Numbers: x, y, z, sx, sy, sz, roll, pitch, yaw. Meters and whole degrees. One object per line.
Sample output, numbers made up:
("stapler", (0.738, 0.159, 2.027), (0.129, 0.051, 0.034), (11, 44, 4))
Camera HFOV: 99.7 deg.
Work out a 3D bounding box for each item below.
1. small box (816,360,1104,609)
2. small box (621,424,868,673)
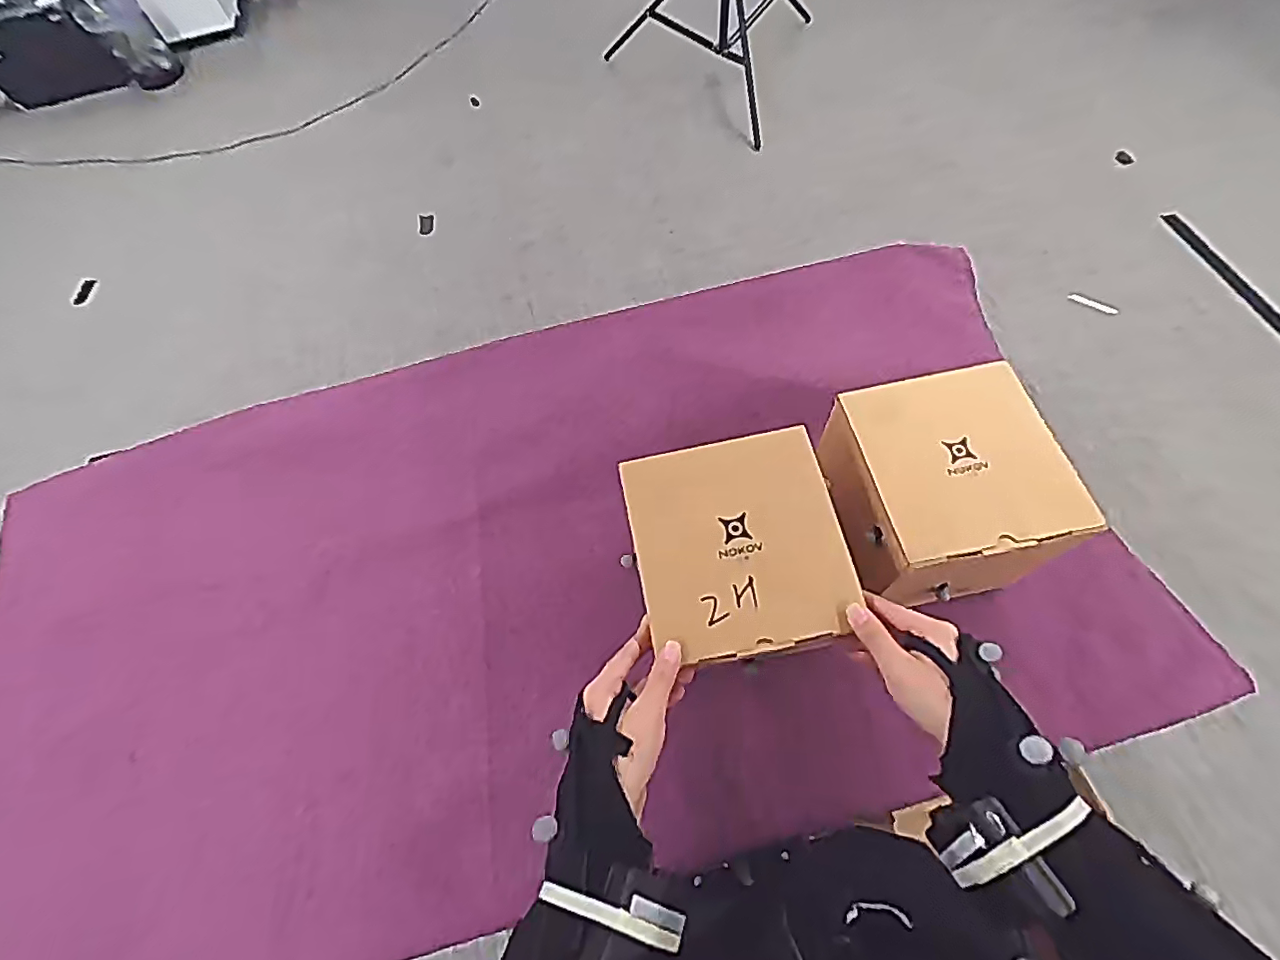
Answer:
("small box", (0.286, 0.012, 0.542), (0.168, 0.176, 0.179), (-12, 63, 1))
("small box", (0.083, 0.074, 0.509), (0.168, 0.176, 0.179), (-12, 68, 1))
